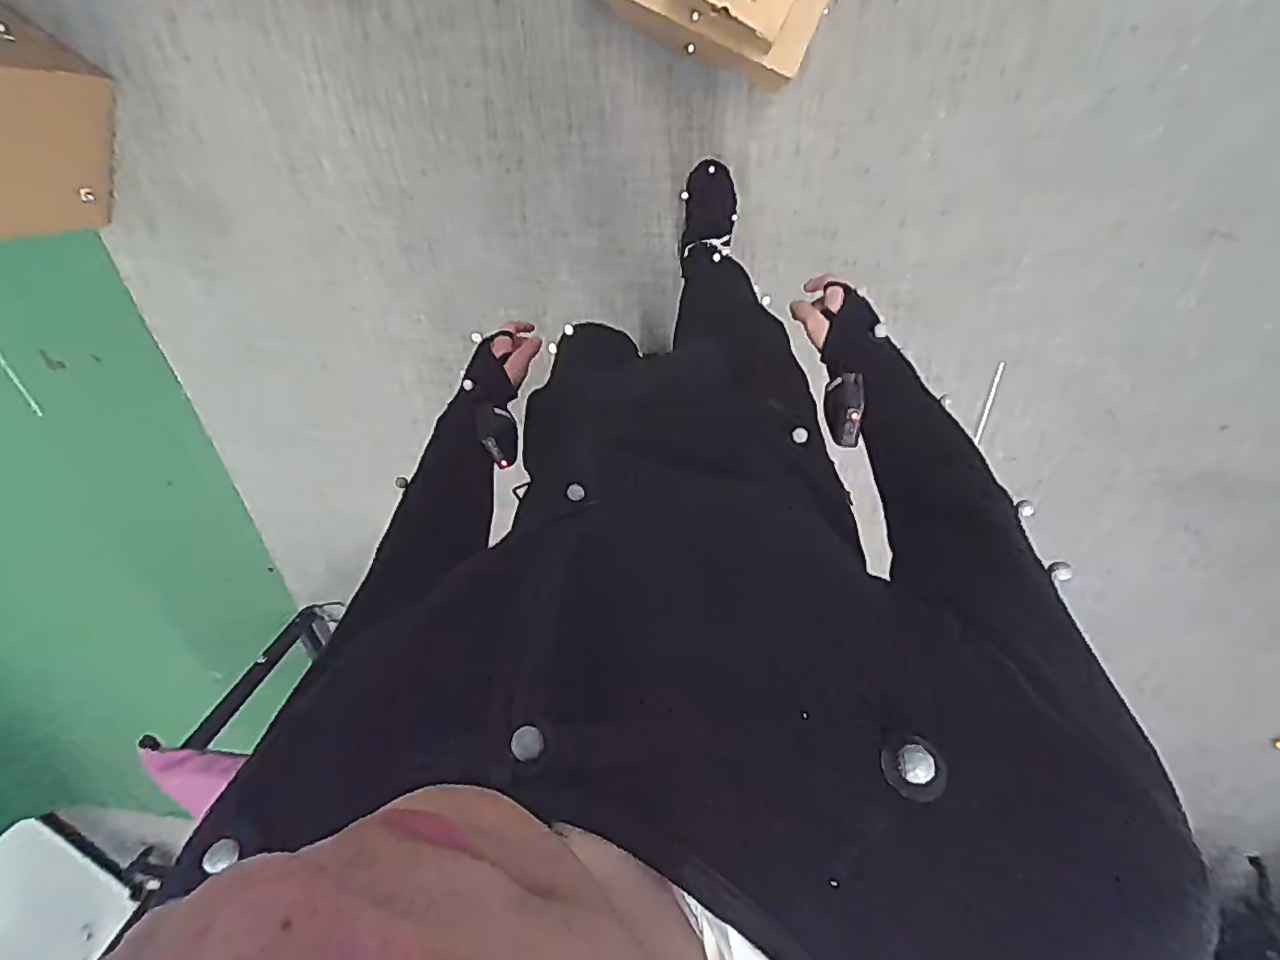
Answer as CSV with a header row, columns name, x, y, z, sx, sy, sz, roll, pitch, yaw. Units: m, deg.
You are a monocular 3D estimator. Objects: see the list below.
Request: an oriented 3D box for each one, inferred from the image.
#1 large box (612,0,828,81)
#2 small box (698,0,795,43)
name,x,y,z,sx,sy,sz,roll,pitch,yaw
large box,0.157,-0.958,0.941,0.408,0.320,0.320,22,123,-5
small box,0.168,-0.765,0.769,0.168,0.176,0.179,25,124,-8
